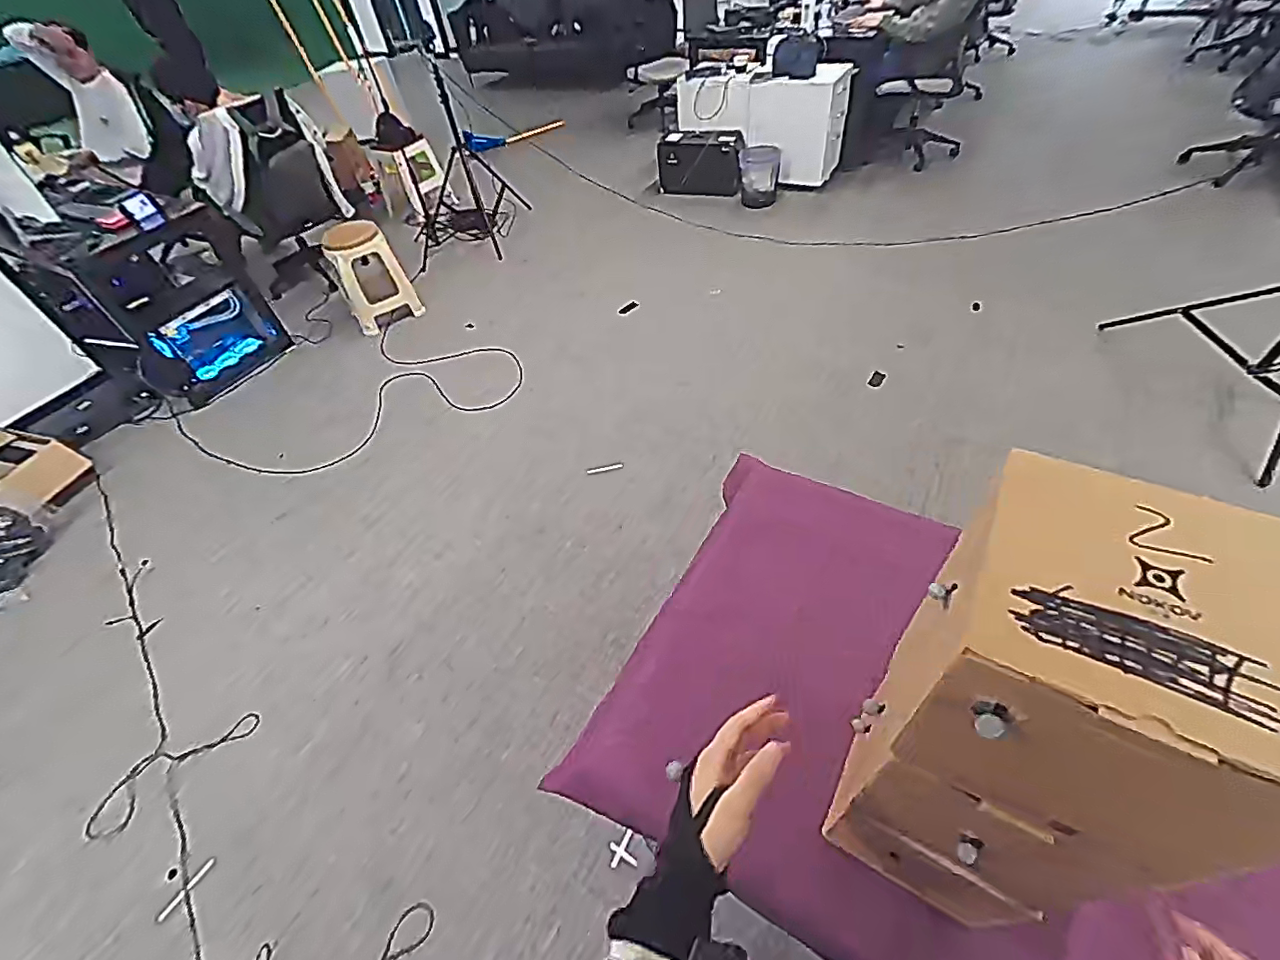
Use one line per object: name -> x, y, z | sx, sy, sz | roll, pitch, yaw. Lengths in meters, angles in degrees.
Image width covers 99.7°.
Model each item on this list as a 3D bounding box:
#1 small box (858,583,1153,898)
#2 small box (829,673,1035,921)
small box -> 0.308, 0.232, 0.483 | 0.168, 0.176, 0.179 | 20, 54, 23
small box -> 0.322, 0.346, 0.600 | 0.168, 0.176, 0.179 | 22, 54, 24
